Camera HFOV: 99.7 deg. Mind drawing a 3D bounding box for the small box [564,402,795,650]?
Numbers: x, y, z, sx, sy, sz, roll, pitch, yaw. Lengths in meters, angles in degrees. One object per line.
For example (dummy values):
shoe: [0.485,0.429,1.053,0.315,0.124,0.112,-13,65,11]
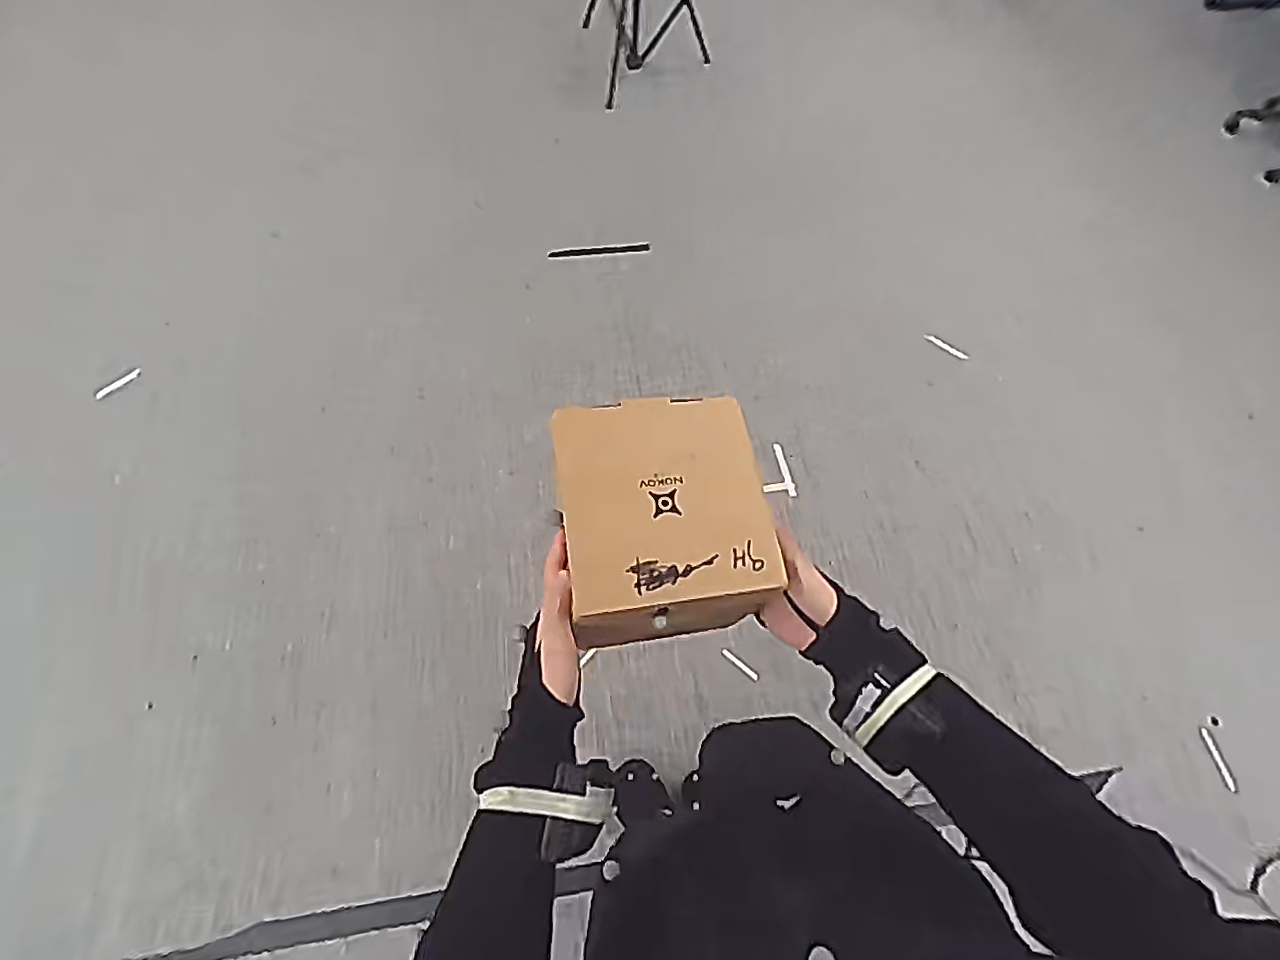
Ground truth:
small box: [0.017,0.048,0.504,0.168,0.176,0.179,-5,65,-10]
